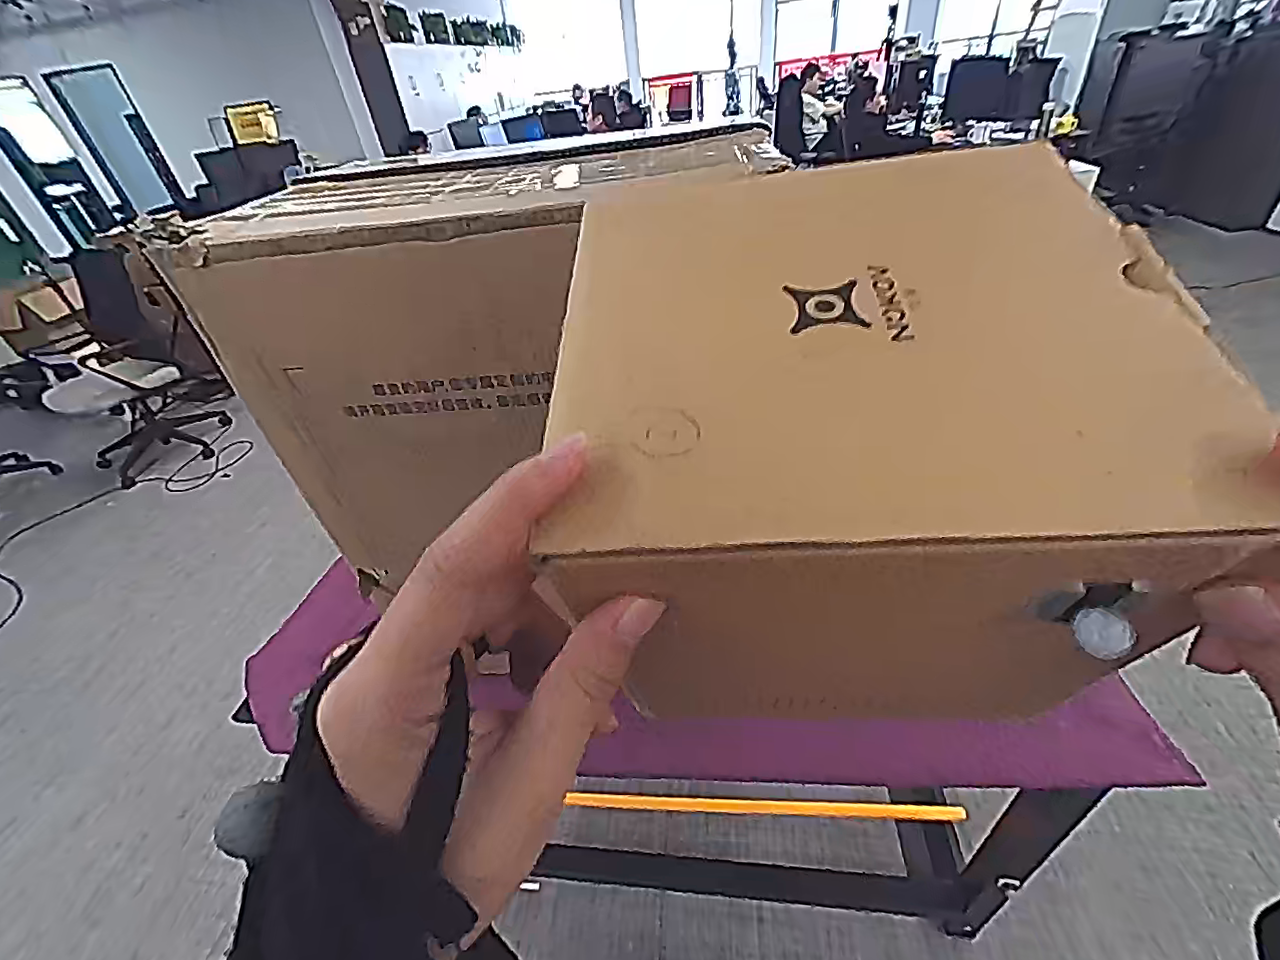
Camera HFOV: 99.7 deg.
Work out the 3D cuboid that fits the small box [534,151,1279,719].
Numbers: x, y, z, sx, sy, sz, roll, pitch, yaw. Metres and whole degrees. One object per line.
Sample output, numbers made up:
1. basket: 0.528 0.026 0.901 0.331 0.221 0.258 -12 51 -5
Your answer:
1. small box: 0.074 -0.003 0.229 0.179 0.176 0.168 -3 54 8
